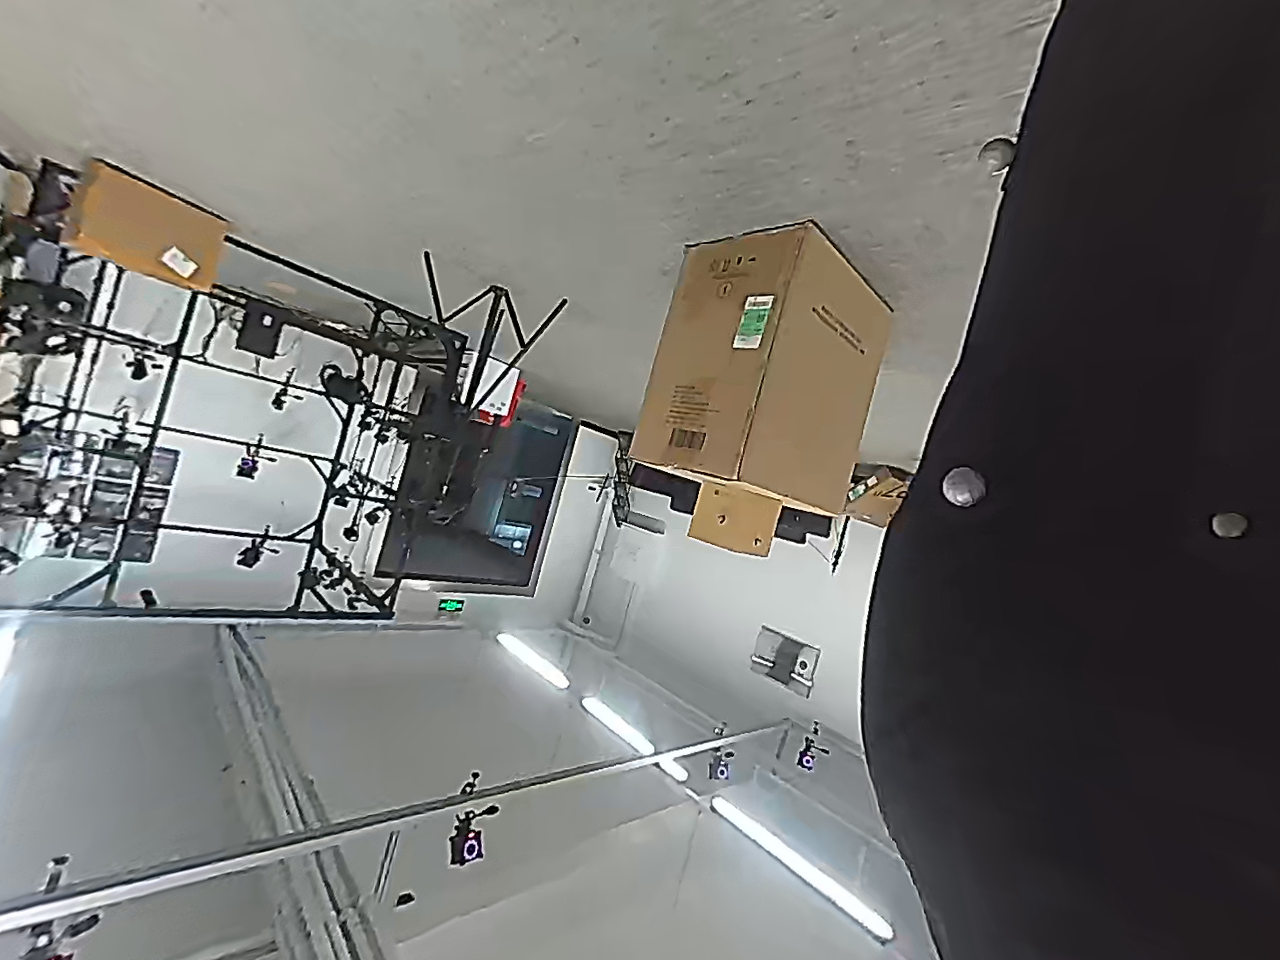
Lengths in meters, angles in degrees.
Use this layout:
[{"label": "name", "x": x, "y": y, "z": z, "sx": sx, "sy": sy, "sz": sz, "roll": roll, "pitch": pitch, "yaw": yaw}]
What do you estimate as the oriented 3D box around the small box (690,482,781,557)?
[{"label": "small box", "x": 0.269, "y": 0.108, "z": 1.512, "sx": 0.179, "sy": 0.176, "sz": 0.168, "roll": 15, "pitch": 179, "yaw": -43}]
